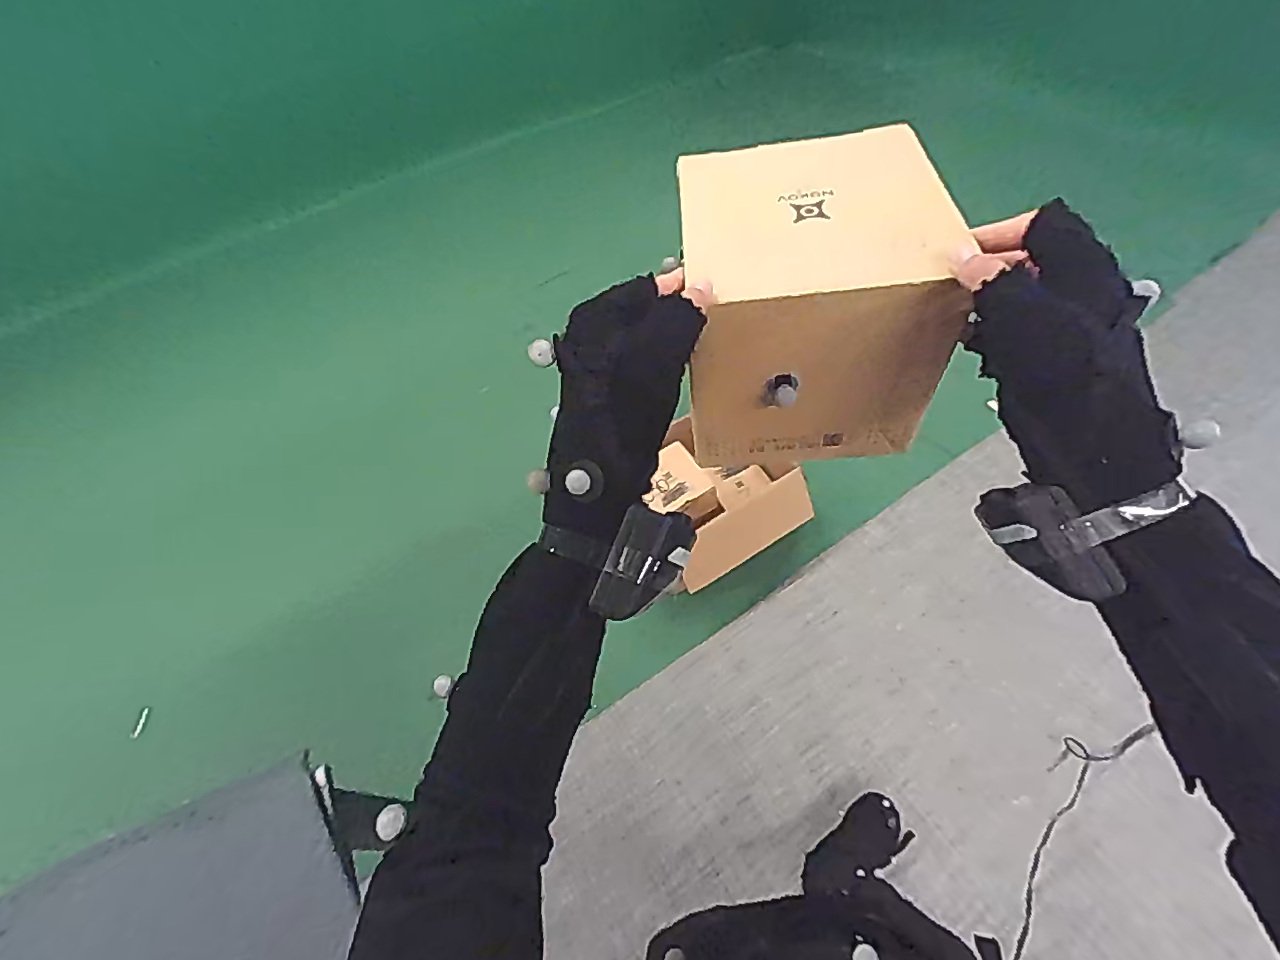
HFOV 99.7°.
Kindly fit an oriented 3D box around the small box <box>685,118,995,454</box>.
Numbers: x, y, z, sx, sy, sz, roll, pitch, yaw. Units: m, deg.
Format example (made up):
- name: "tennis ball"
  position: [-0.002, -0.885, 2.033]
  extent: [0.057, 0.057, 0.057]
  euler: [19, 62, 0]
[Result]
- name: "small box"
  position: [0.124, -0.131, 0.408]
  extent: [0.168, 0.176, 0.179]
  euler: [-4, 55, 7]
